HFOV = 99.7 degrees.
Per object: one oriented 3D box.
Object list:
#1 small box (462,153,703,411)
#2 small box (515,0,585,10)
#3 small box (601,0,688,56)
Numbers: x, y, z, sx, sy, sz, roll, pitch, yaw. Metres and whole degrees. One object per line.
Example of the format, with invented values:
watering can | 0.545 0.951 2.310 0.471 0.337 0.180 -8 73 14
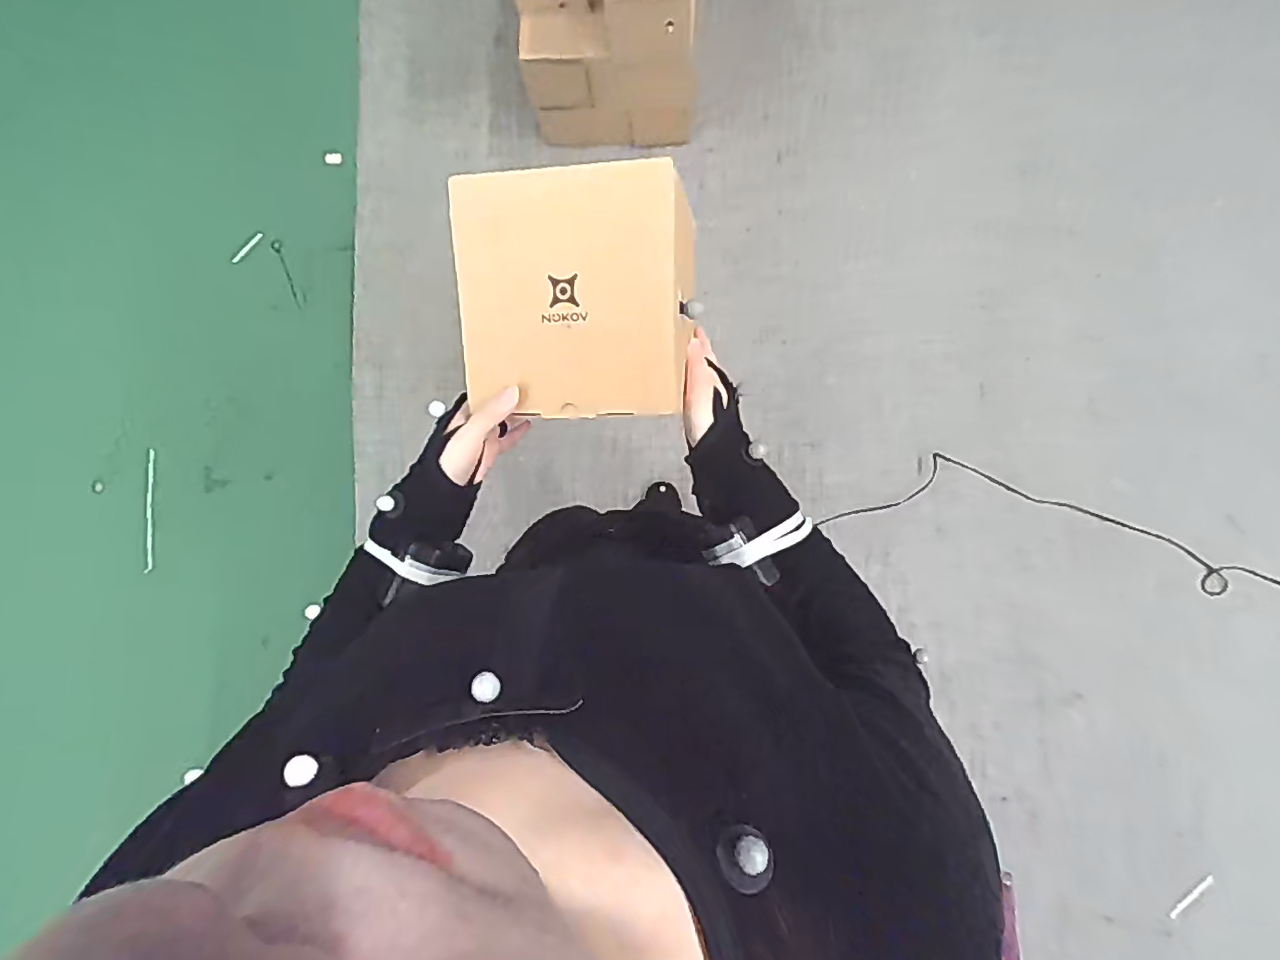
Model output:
small box | -0.034 -0.156 0.470 0.168 0.176 0.179 1 104 10
small box | -0.209 -1.165 1.158 0.168 0.176 0.179 1 87 6
small box | 0.013 -1.034 1.132 0.179 0.176 0.168 0 87 5
